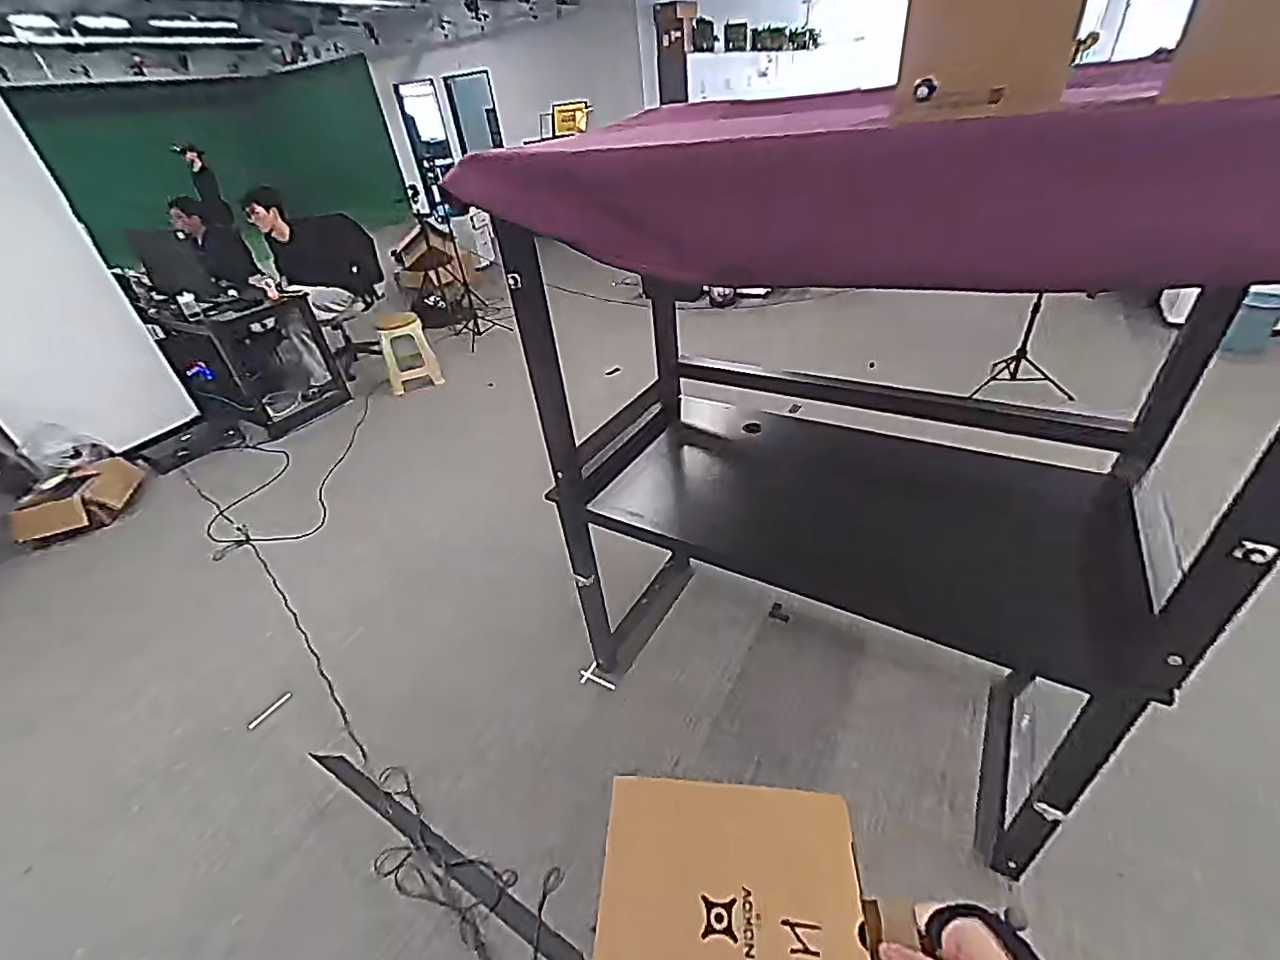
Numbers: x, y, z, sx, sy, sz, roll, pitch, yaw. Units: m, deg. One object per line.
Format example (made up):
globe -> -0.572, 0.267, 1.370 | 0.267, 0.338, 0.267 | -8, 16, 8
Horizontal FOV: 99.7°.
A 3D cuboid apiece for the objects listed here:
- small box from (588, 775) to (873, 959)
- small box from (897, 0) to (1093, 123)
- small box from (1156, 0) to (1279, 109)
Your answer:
small box -> 0.060, 0.342, 0.397 | 0.179, 0.176, 0.168 | 2, 41, 4
small box -> 0.399, -0.506, 0.603 | 0.168, 0.176, 0.179 | 16, 40, 29
small box -> 0.598, -0.436, 0.468 | 0.179, 0.176, 0.168 | 18, 41, 33
